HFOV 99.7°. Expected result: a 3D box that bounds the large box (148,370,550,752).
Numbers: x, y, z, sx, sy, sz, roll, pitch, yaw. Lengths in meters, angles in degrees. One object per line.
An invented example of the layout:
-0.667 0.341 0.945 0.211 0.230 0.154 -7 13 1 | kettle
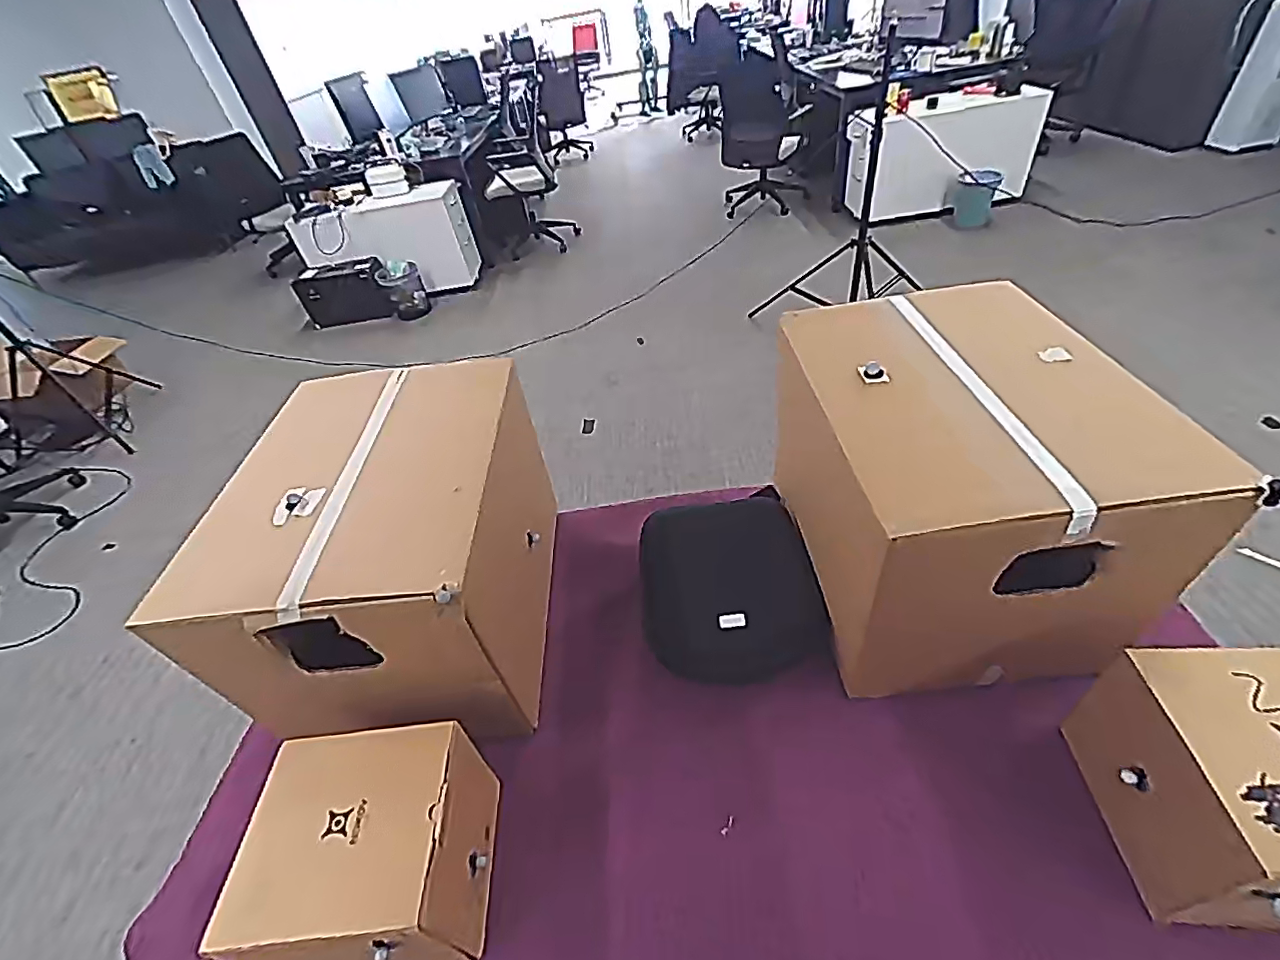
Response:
-0.309 0.100 0.742 0.320 0.320 0.408 -7 45 2 | large box
